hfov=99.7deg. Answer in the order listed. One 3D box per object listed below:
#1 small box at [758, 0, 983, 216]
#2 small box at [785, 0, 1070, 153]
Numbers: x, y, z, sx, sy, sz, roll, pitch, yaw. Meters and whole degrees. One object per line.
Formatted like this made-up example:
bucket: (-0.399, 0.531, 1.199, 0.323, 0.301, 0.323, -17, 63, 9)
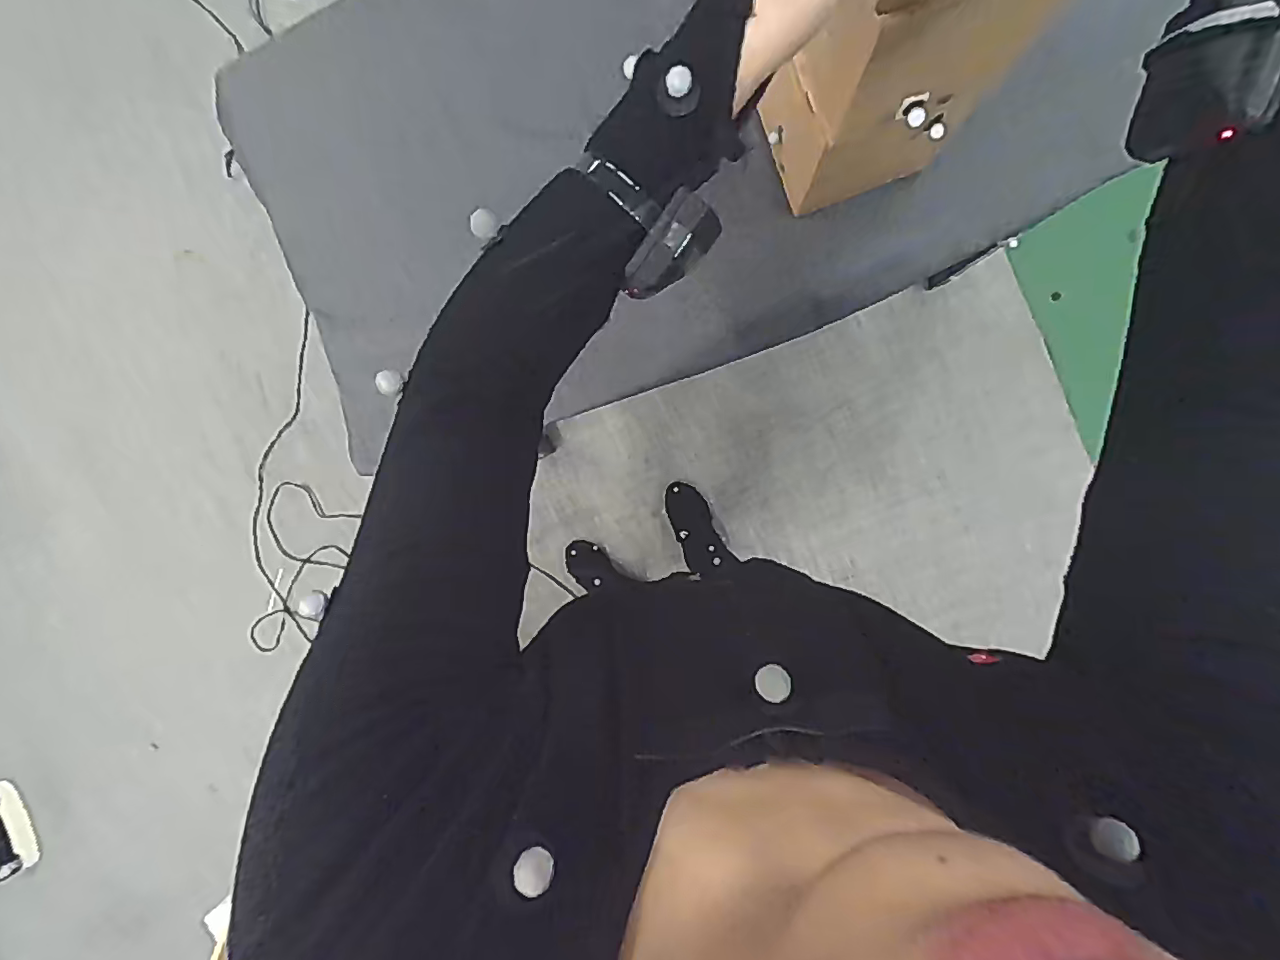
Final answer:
small box: (0.249, -0.439, 0.616, 0.179, 0.176, 0.168, -19, 90, 7)
small box: (0.231, -0.425, 0.454, 0.168, 0.176, 0.179, -17, 91, 9)
